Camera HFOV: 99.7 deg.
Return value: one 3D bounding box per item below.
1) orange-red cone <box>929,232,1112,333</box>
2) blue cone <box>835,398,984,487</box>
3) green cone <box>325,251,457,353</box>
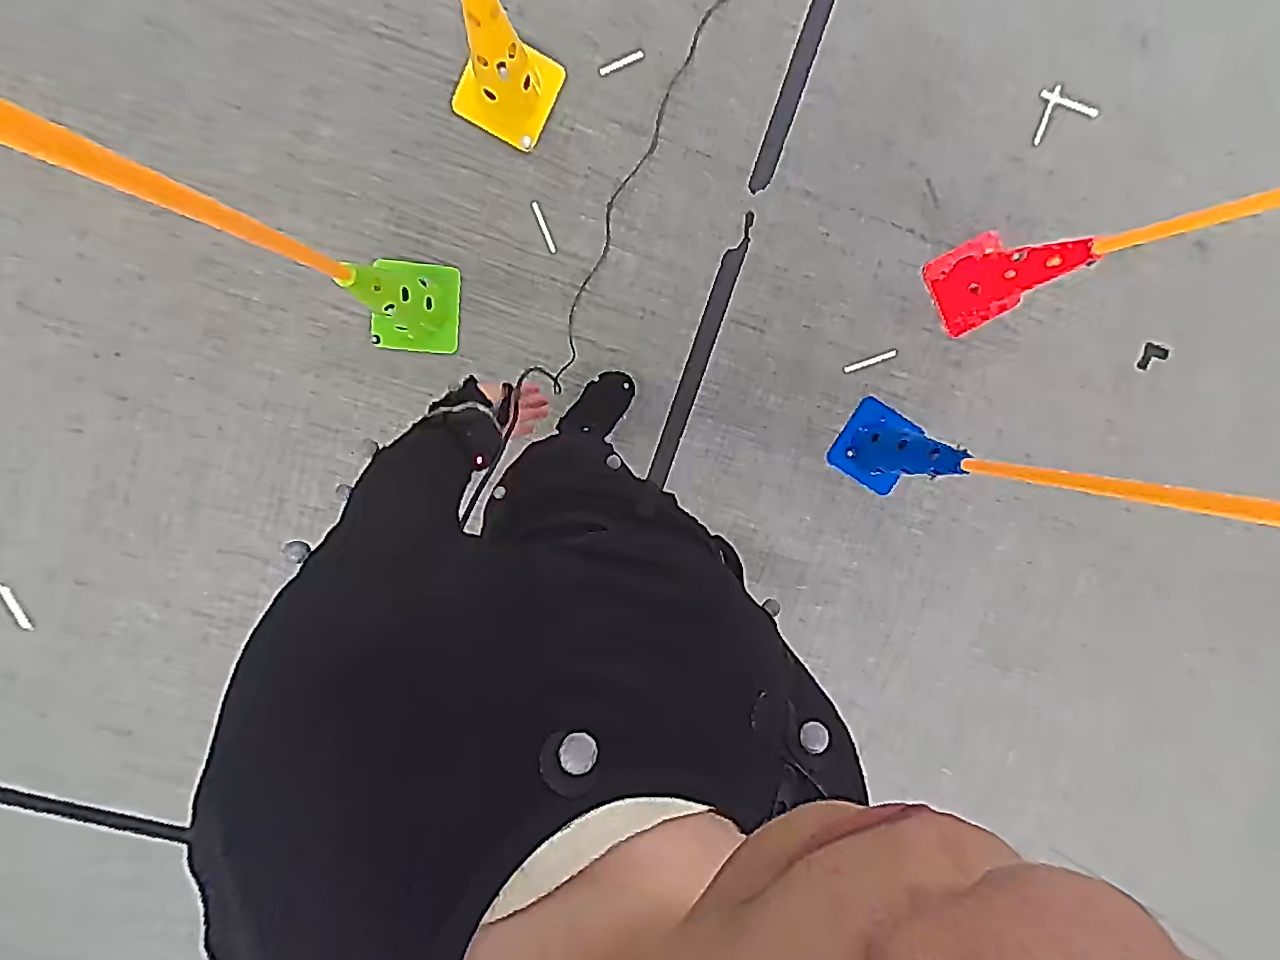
[{"bbox_3d":[0.831,-0.455,1.153,0.199,0.360,0.198,-27,99,2],"label":"orange-red cone"},{"bbox_3d":[0.619,-0.070,1.213,0.193,0.380,0.192,33,94,-8],"label":"blue cone"},{"bbox_3d":[-0.513,-0.379,1.076,0.200,0.368,0.202,4,97,-5],"label":"green cone"}]
